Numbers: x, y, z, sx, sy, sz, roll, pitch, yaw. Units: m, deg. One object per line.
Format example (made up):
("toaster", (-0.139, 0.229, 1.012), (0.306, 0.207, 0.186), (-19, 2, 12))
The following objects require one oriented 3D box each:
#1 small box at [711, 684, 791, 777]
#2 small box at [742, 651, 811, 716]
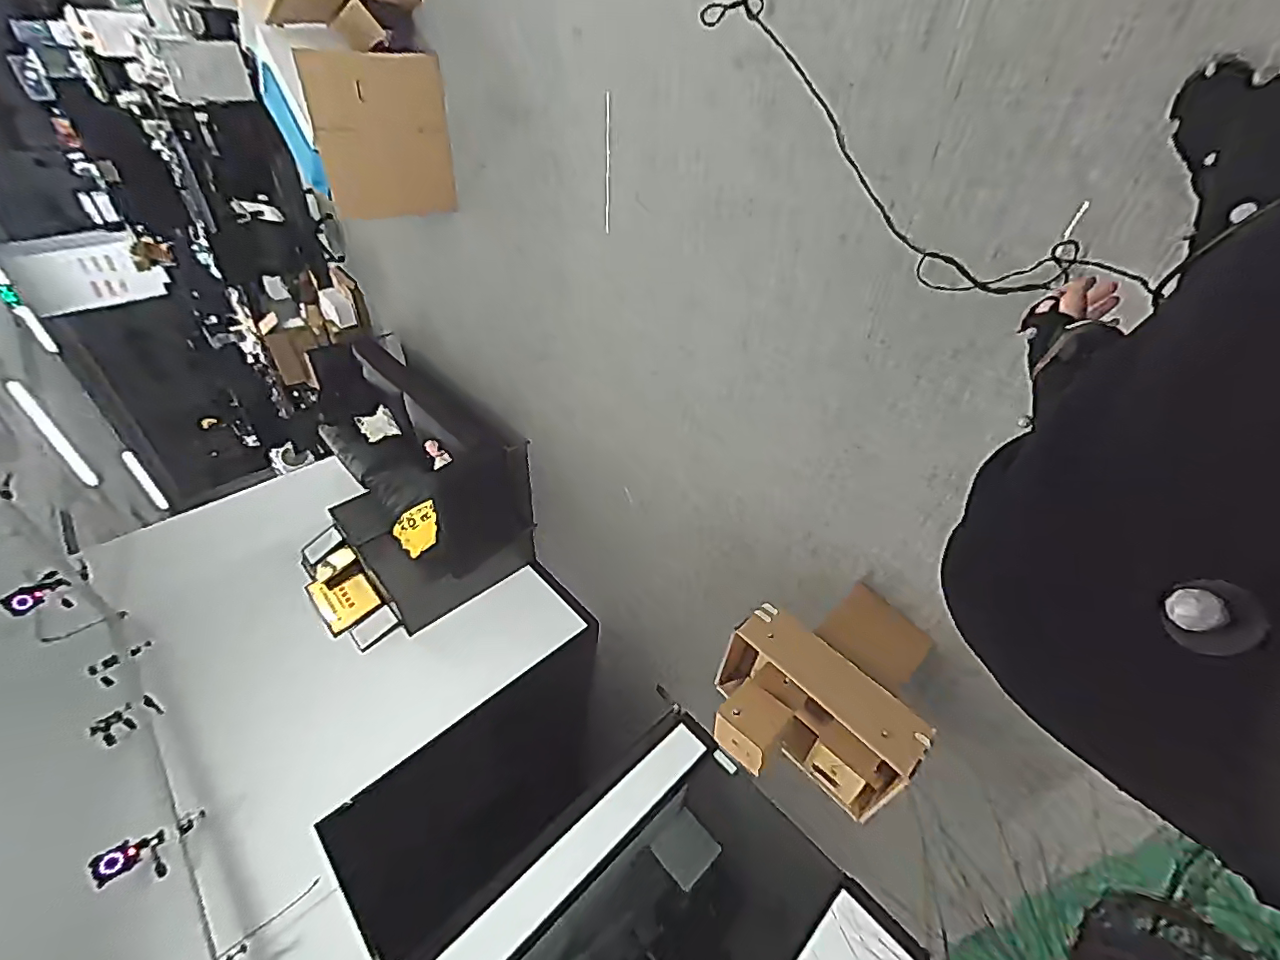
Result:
("small box", (0.345, 0.774, 1.696), (0.179, 0.176, 0.168), (29, 137, 35))
("small box", (0.446, 0.709, 1.814), (0.168, 0.176, 0.179), (44, 143, 22))
